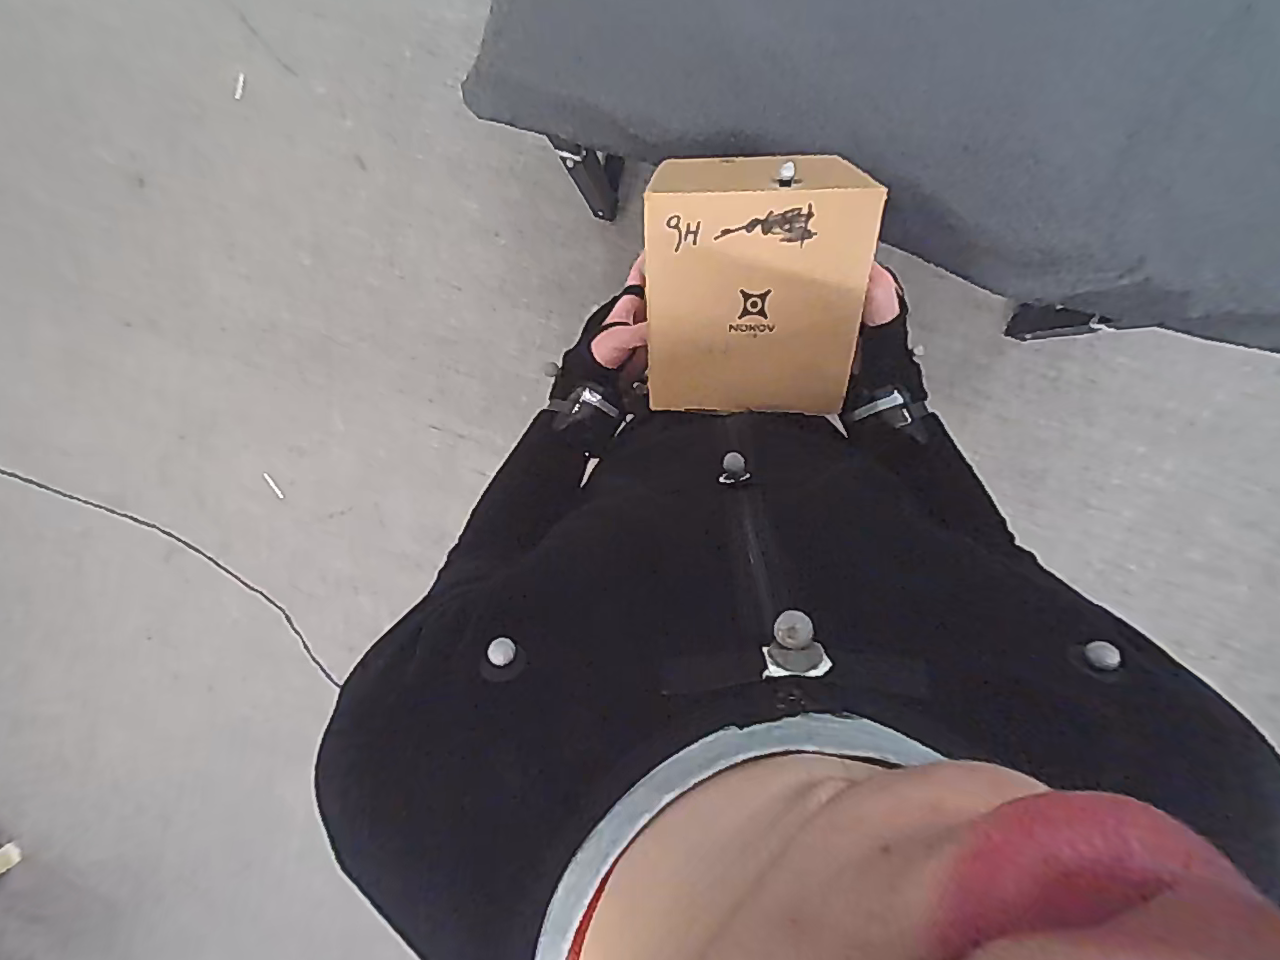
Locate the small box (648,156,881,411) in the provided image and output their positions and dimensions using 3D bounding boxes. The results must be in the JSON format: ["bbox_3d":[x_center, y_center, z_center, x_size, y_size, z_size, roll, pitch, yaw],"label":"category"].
[{"bbox_3d":[0.097,-0.182,0.495,0.168,0.176,0.179,2,129,5],"label":"small box"}]
